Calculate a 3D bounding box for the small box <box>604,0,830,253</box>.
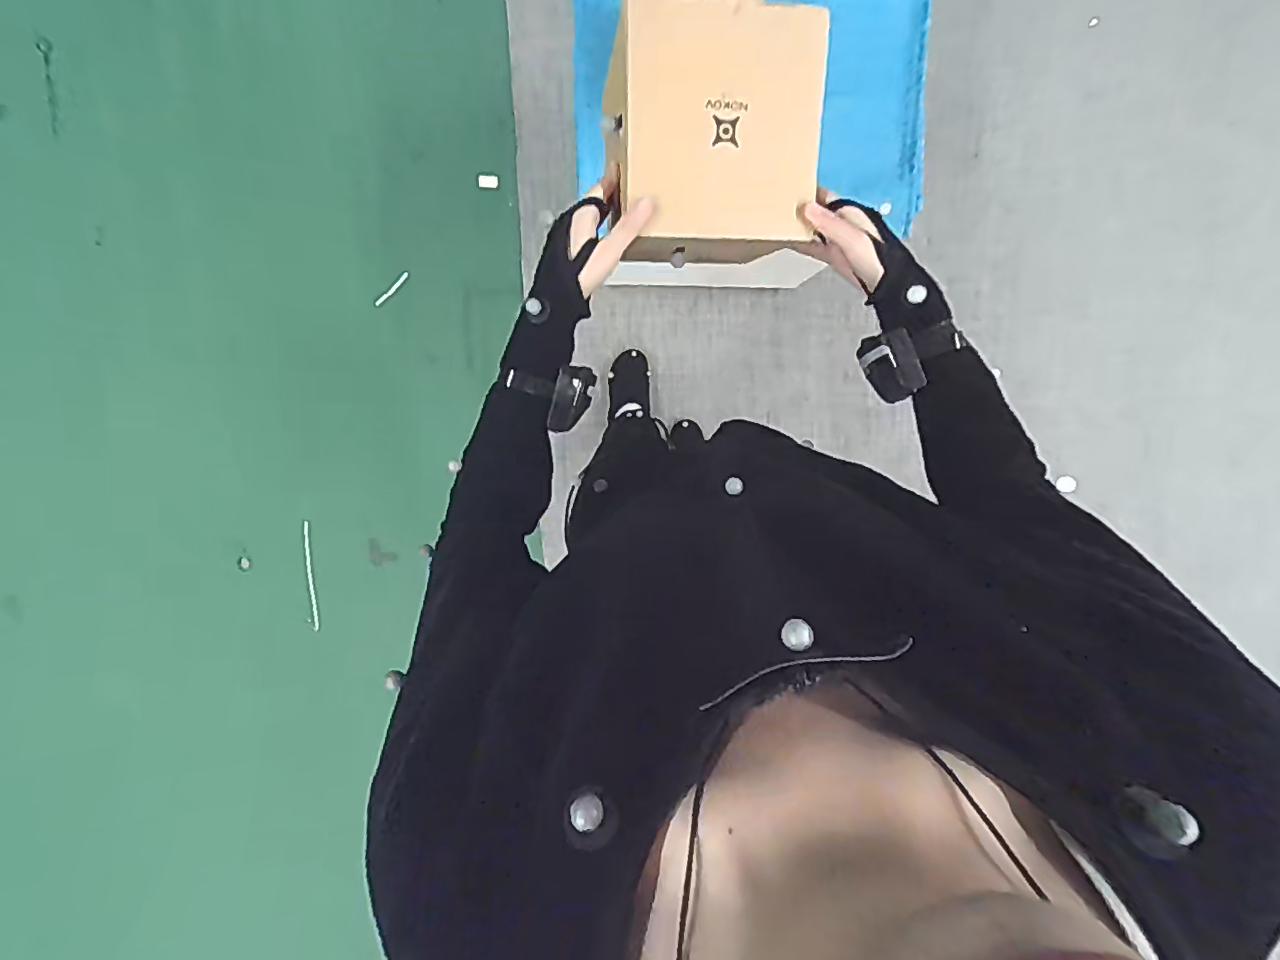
[{"bbox_3d":[0.055,-0.317,0.507,0.168,0.176,0.179,-2,104,-8],"label":"small box"}]
